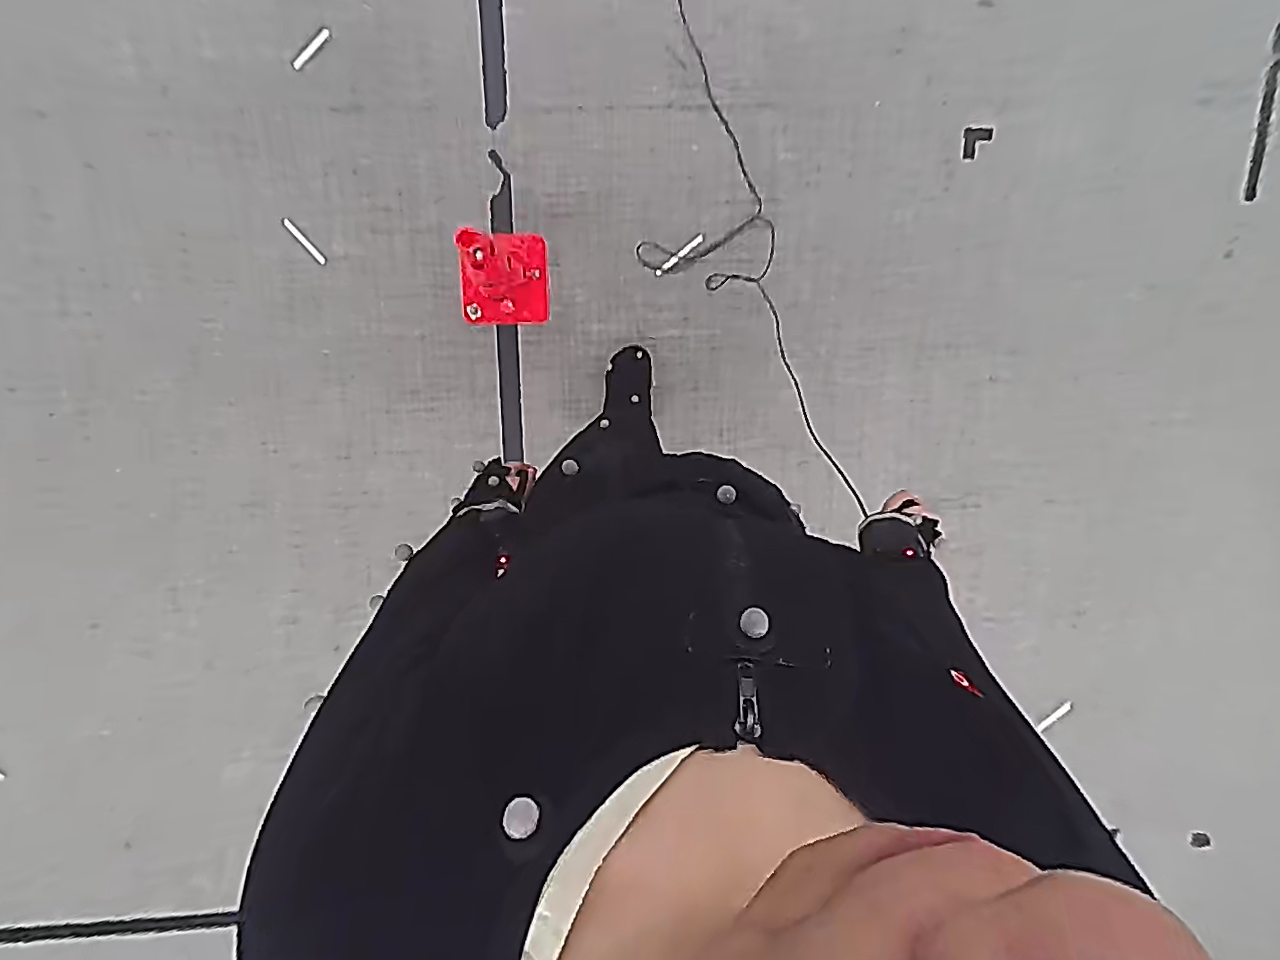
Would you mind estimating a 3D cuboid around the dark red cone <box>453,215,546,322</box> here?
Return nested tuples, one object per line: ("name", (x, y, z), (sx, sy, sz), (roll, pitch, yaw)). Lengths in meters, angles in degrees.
("dark red cone", (-0.304, -0.436, 1.070), (0.201, 0.394, 0.202), (-3, 99, -5))
